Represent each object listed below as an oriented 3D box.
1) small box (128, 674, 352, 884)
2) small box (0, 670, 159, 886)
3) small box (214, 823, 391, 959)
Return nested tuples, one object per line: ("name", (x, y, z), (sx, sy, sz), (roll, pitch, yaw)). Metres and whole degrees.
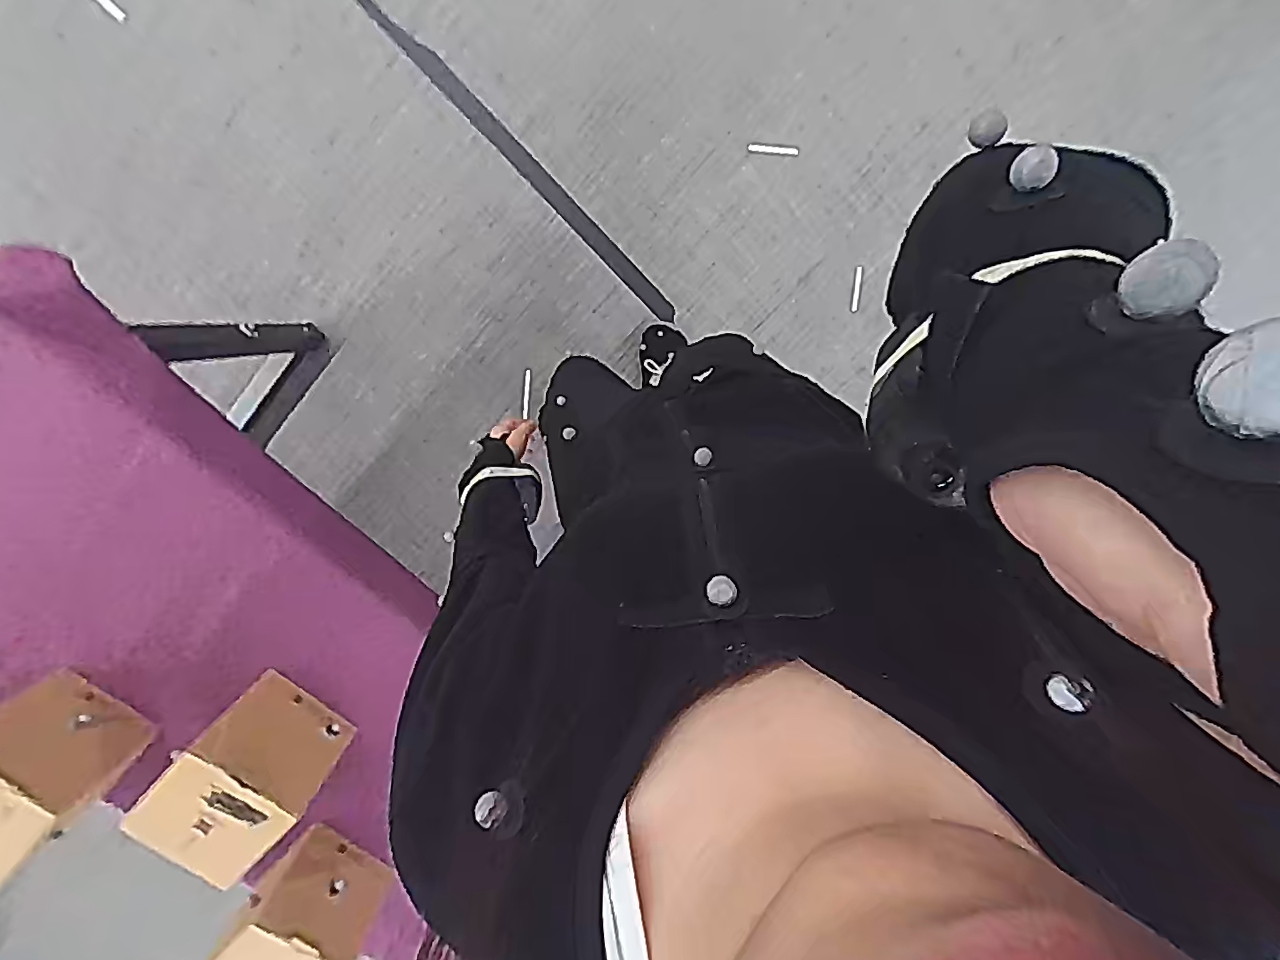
("small box", (-0.560, 0.423, 0.790), (0.168, 0.176, 0.179), (43, 102, -11))
("small box", (-0.867, 0.419, 0.781), (0.168, 0.176, 0.179), (42, 100, -12))
("small box", (-0.533, 0.704, 0.868), (0.168, 0.176, 0.179), (42, 99, -11))
